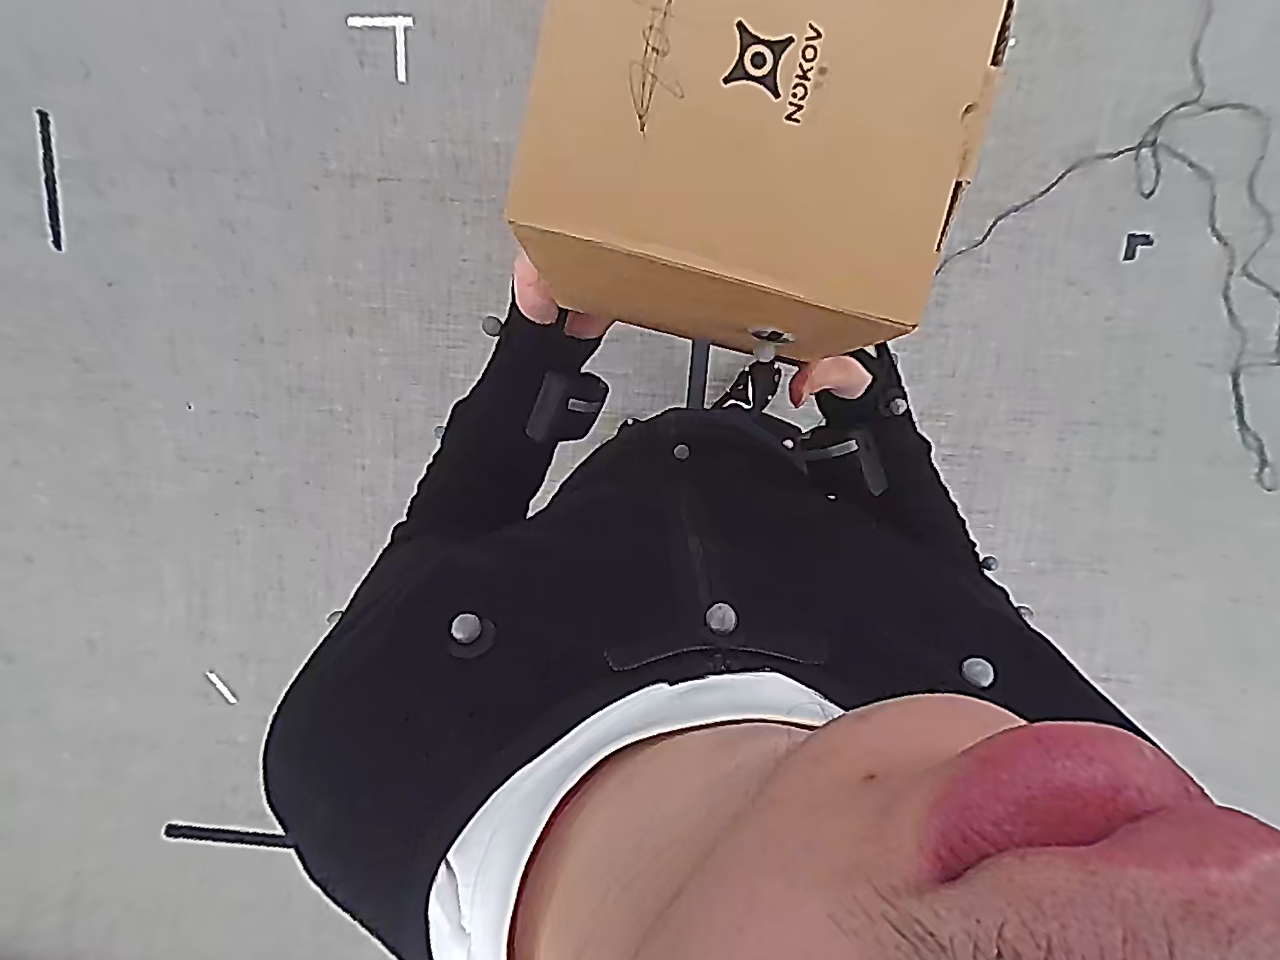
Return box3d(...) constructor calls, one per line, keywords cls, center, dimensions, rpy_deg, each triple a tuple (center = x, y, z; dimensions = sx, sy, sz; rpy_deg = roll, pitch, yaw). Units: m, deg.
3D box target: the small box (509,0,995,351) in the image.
box3d(cls="small box", center=(0.046, -0.176, 0.300), dimensions=(0.179, 0.176, 0.168), rpy_deg=(13, 95, -3))
